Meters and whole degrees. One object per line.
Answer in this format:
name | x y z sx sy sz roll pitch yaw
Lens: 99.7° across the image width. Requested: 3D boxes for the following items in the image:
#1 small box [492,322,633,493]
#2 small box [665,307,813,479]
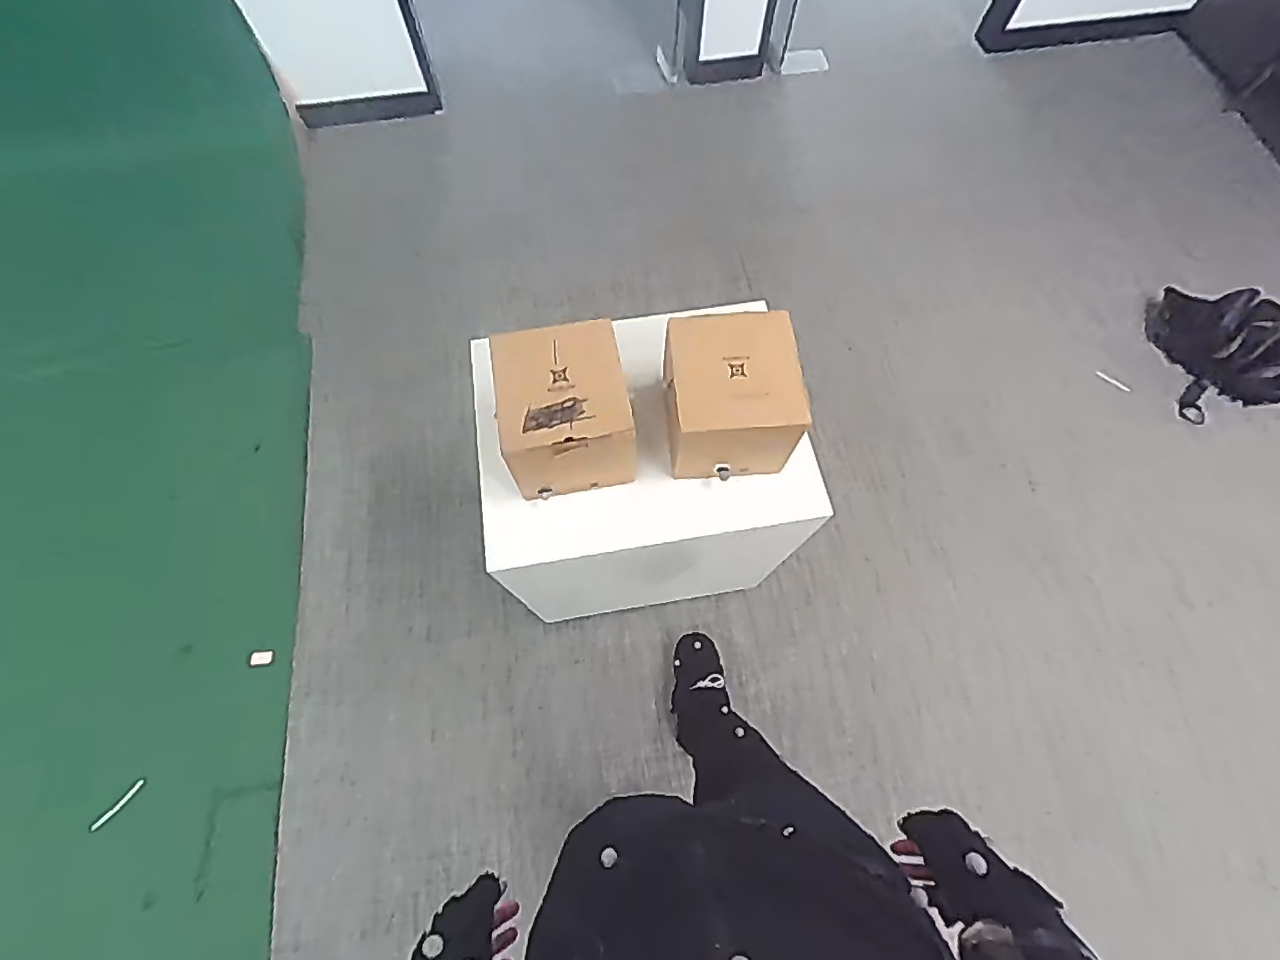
small box | -0.103 -0.092 0.768 0.168 0.176 0.179 -10 67 -5
small box | 0.125 -0.116 0.765 0.168 0.176 0.179 -5 70 -1
